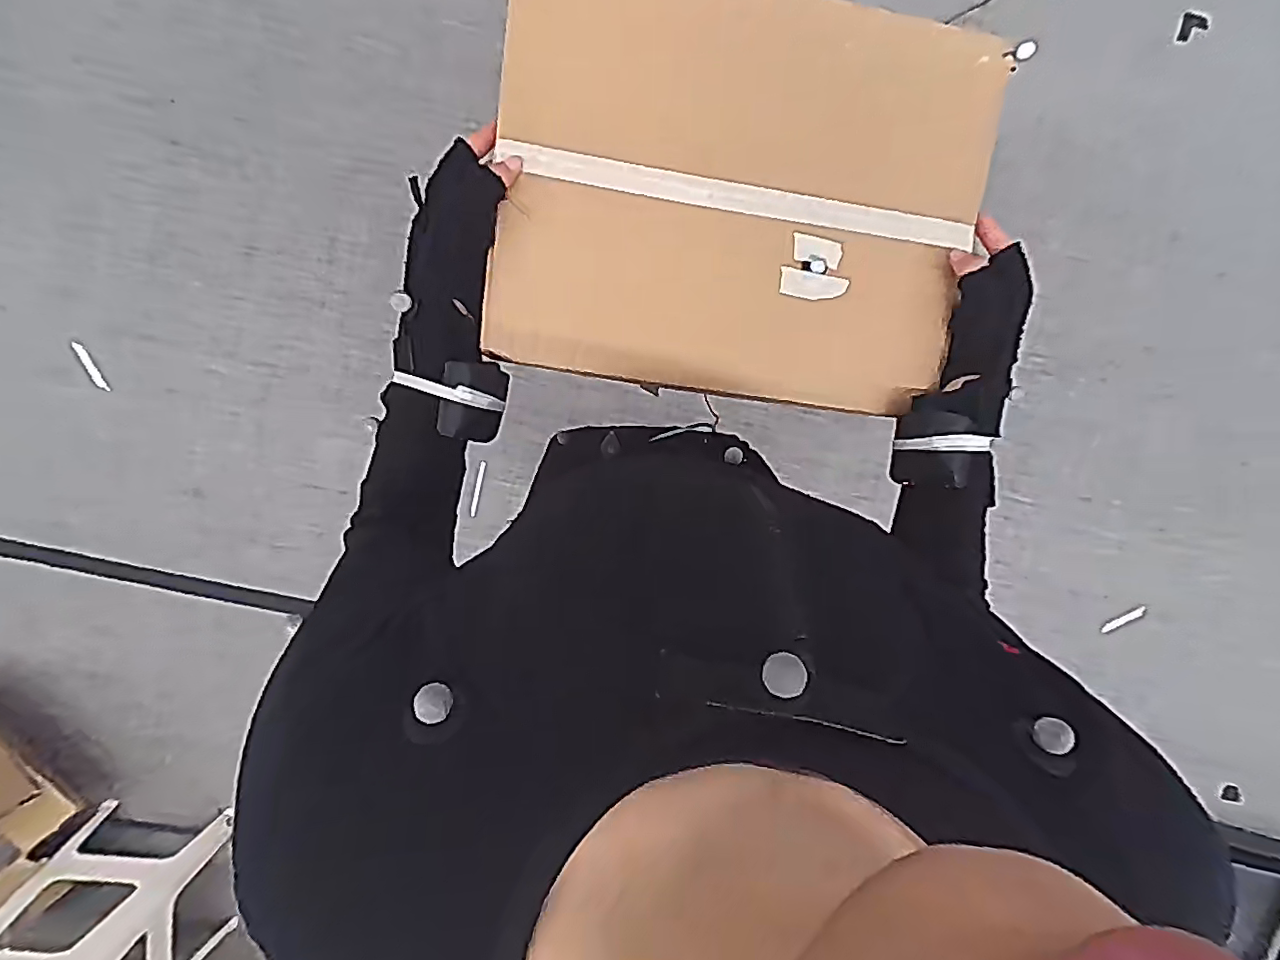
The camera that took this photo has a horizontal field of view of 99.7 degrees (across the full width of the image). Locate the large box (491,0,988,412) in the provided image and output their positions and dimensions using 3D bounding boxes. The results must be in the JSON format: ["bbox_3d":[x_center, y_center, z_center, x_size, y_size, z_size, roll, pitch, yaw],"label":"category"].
[{"bbox_3d":[0.068,-0.260,0.606,0.408,0.320,0.320,7,101,-7],"label":"large box"}]
